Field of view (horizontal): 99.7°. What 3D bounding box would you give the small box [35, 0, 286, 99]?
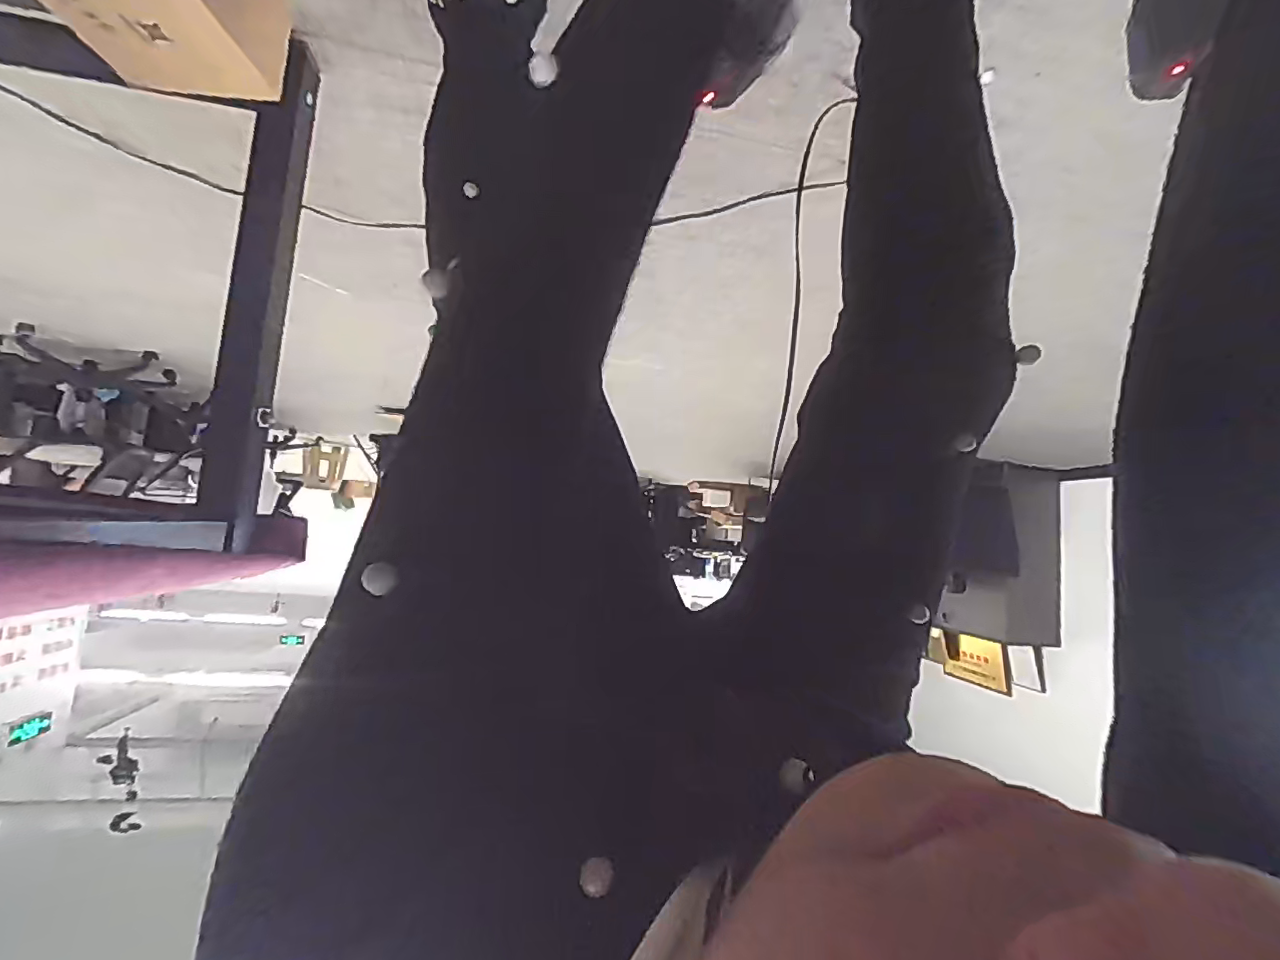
[{"bbox_3d":[-0.494,-0.536,0.551,0.179,0.176,0.168,5,174,-2],"label":"small box"}]
